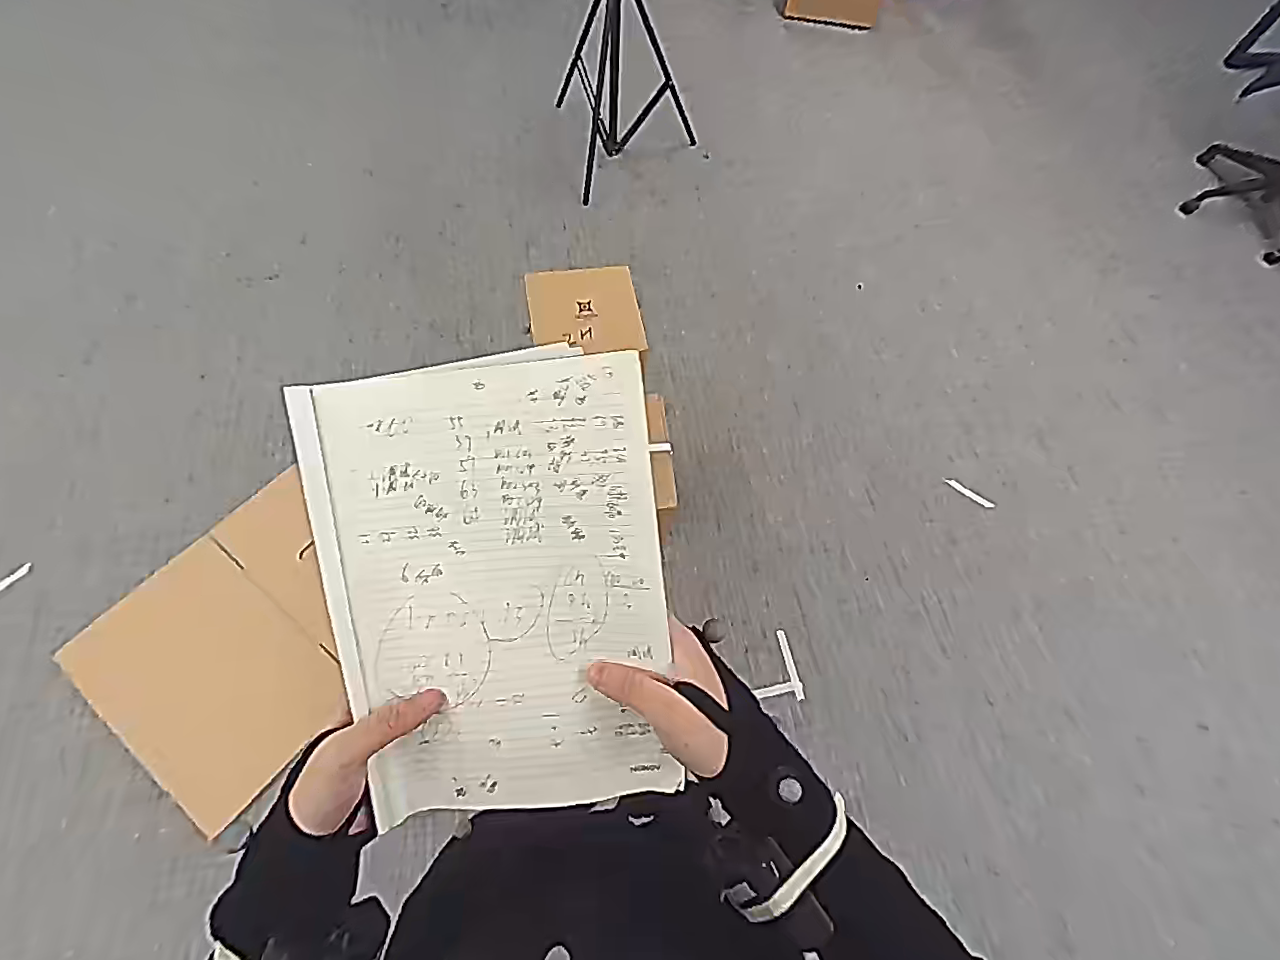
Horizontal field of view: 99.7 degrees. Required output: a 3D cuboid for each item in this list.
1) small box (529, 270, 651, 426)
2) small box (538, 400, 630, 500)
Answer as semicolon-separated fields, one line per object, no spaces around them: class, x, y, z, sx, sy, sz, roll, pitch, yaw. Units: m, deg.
small box;-0.085;-0.211;0.878;0.168;0.176;0.179;-8;66;-8
small box;-0.121;-0.068;1.173;0.168;0.176;0.179;-10;65;-10
